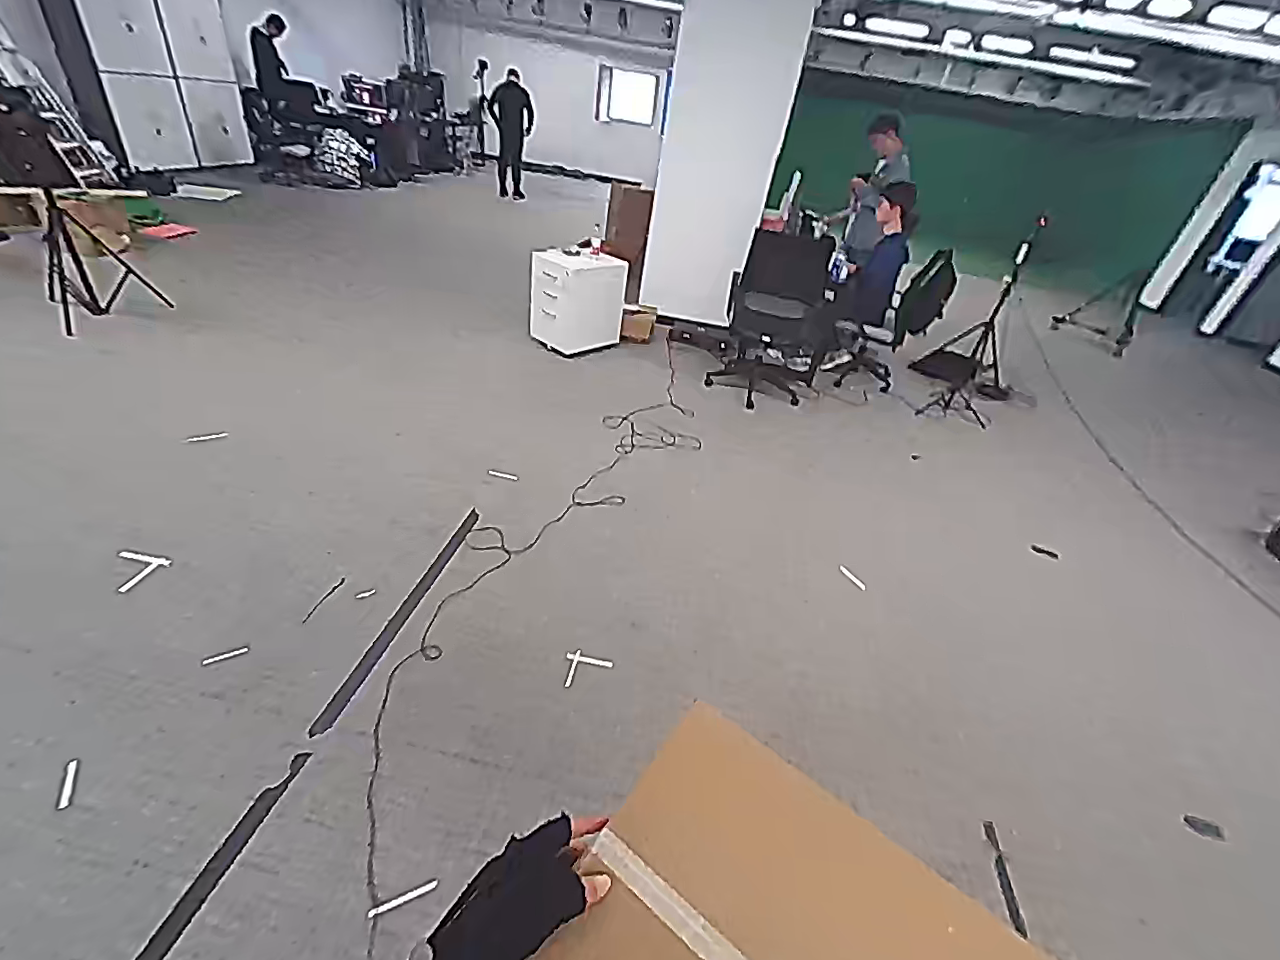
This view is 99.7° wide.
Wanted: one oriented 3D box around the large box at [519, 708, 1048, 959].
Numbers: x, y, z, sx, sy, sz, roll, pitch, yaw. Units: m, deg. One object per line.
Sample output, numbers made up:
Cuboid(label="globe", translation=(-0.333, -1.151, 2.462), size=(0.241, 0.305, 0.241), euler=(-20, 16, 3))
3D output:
Cuboid(label="large box", translation=(0.118, 0.513, 0.512), size=(0.408, 0.320, 0.320), euler=(31, 52, 24))
